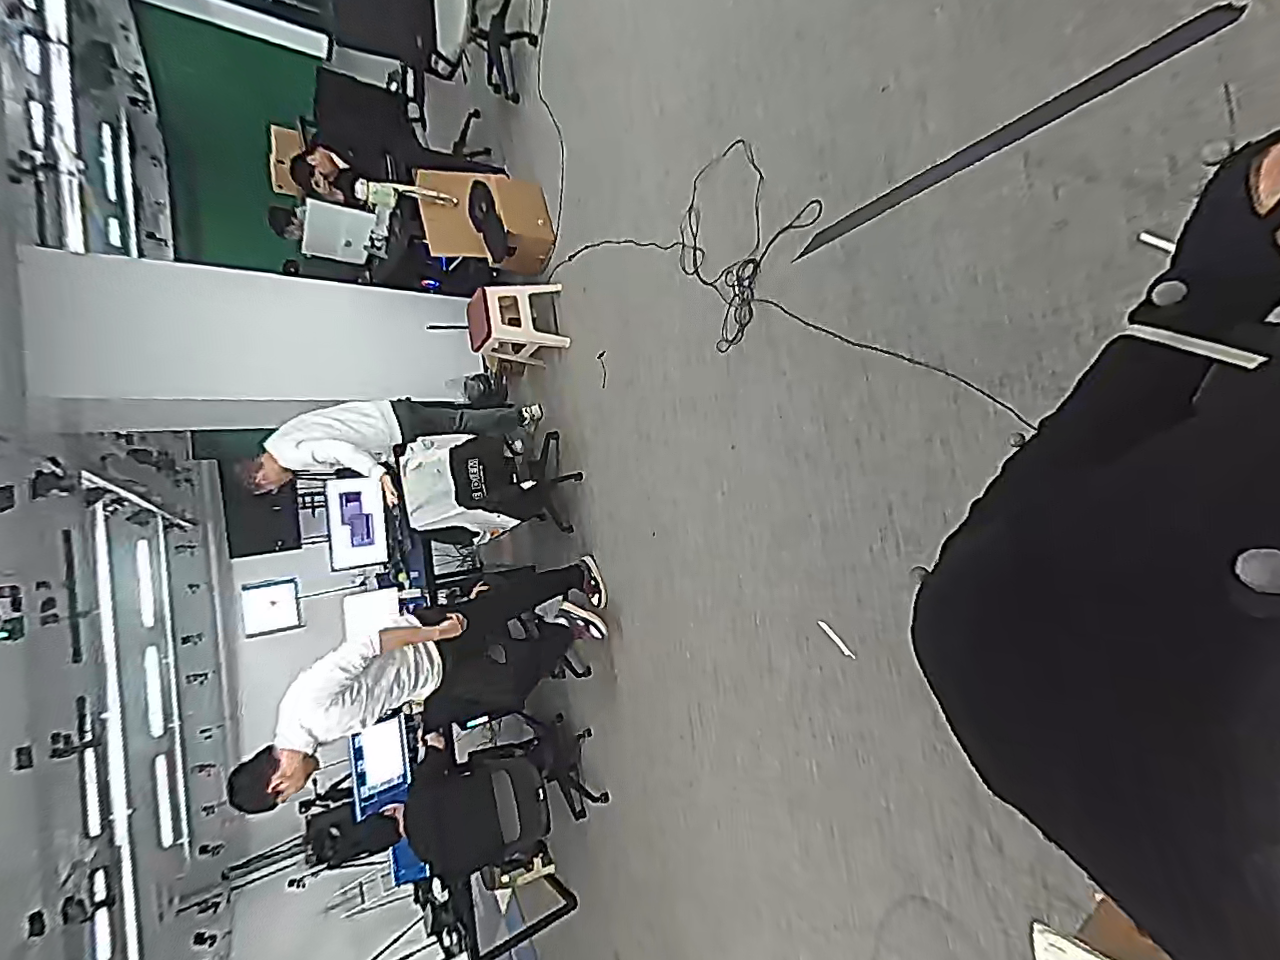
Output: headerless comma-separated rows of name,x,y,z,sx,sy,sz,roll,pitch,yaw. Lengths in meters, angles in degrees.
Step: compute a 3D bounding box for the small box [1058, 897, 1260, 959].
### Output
small box,0.642,0.663,0.645,0.168,0.176,0.179,-11,85,58
